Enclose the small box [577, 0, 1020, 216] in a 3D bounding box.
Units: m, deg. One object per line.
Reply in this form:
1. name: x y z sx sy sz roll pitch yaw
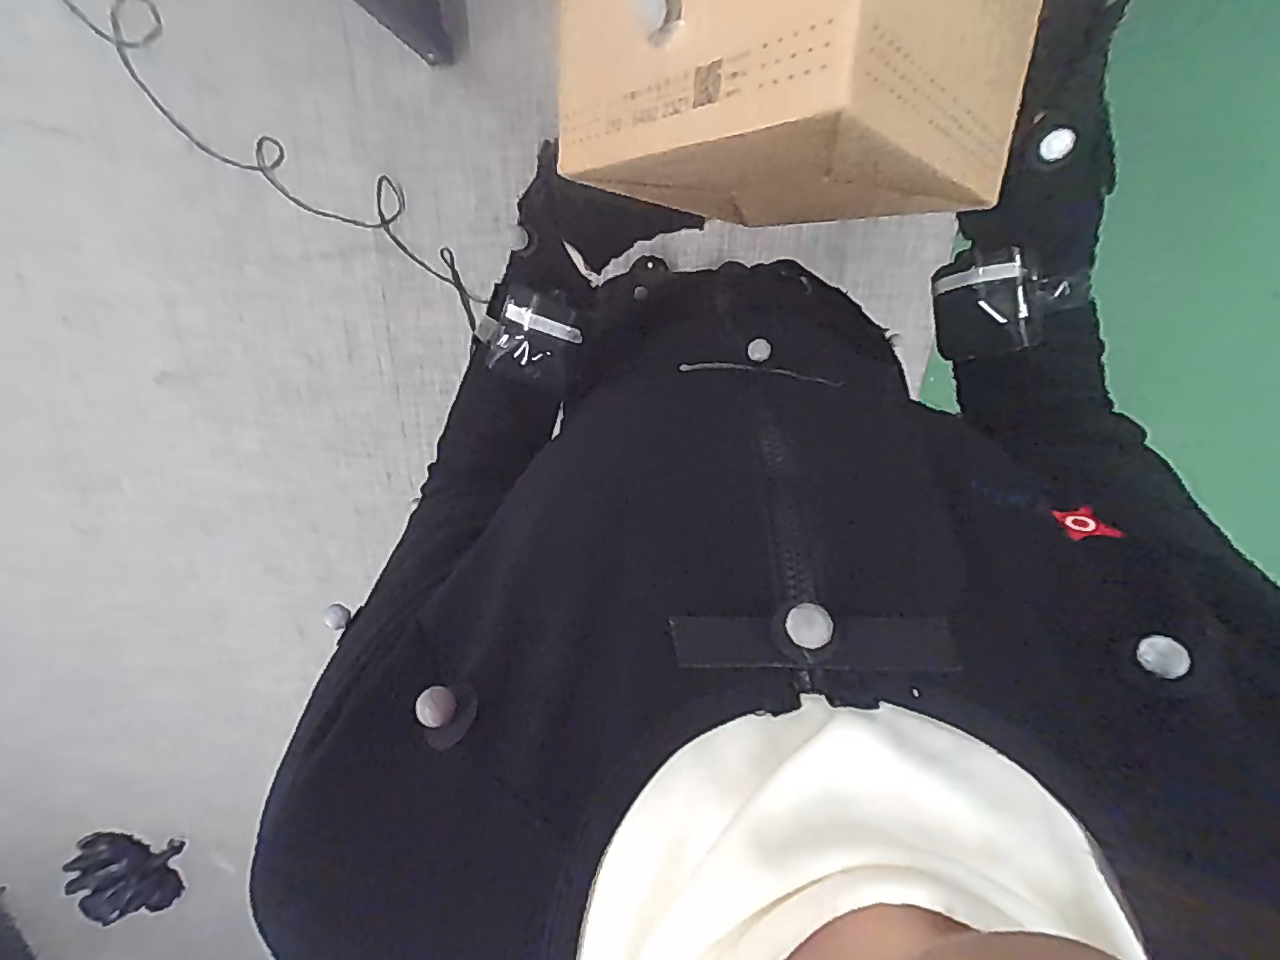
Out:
1. small box: 0.079 -0.244 0.278 0.168 0.179 0.176 18 113 43
